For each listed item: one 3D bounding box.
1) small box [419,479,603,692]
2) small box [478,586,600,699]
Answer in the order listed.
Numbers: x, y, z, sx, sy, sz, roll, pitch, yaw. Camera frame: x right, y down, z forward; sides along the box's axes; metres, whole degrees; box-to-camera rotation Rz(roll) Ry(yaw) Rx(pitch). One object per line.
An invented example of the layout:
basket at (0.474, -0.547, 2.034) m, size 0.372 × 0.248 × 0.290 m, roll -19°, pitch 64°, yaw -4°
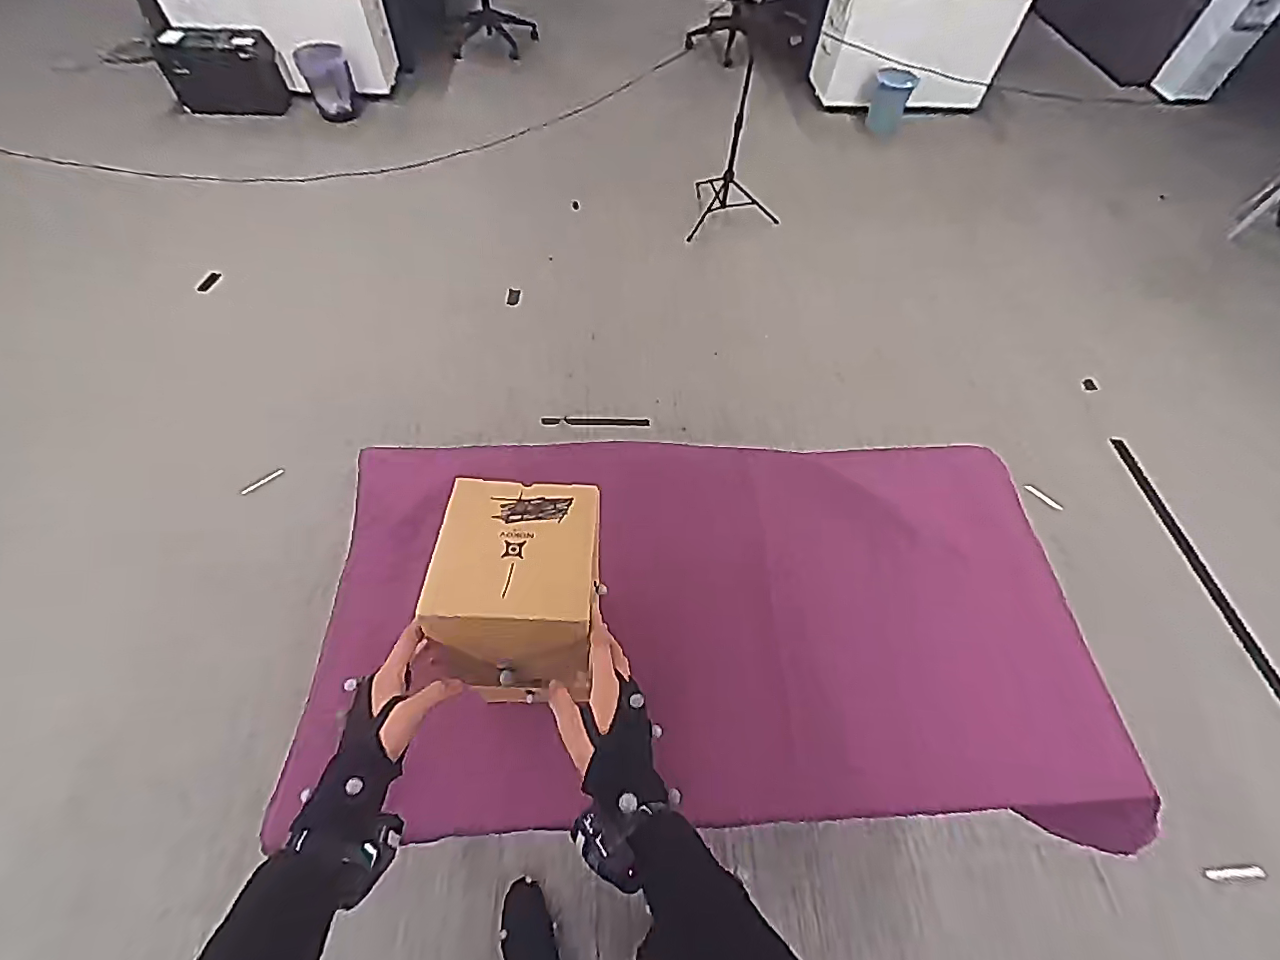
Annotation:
small box at (-0.134, 0.122, 0.626) m, size 0.168 × 0.176 × 0.179 m, roll 3°, pitch 46°, yaw -2°
small box at (-0.145, 0.214, 0.784) m, size 0.168 × 0.176 × 0.179 m, roll 2°, pitch 58°, yaw -3°
